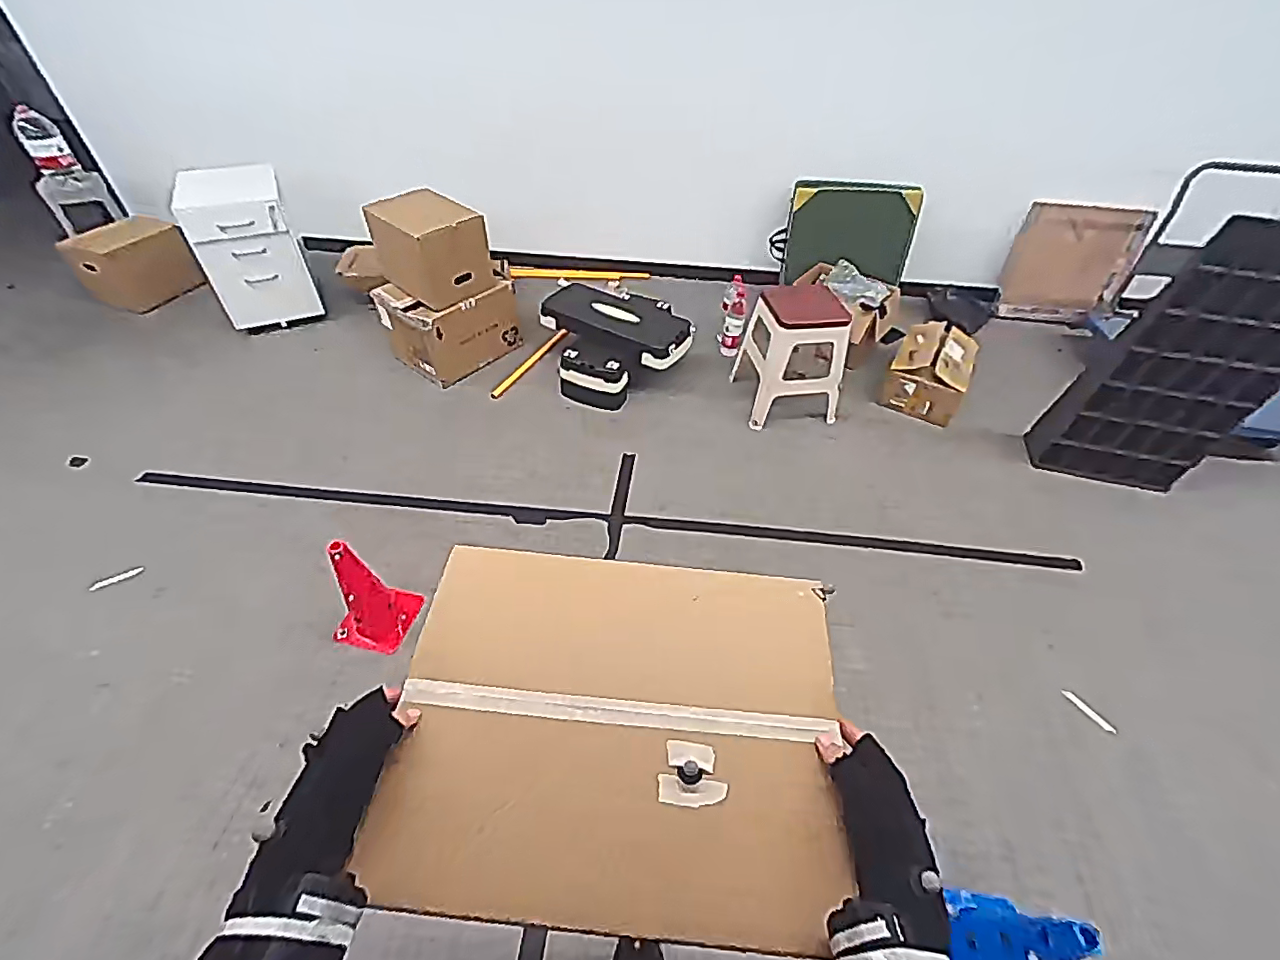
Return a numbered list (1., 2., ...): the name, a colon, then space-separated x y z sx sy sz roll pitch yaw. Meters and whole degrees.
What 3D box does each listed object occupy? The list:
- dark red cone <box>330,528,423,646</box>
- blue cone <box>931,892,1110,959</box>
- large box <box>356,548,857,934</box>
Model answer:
1. dark red cone: -0.761 0.269 1.476 0.201 0.394 0.202 11 47 6
2. blue cone: 0.725 0.877 1.014 0.192 0.380 0.193 9 46 5
3. large box: -0.024 0.304 0.628 0.408 0.320 0.320 6 53 1
